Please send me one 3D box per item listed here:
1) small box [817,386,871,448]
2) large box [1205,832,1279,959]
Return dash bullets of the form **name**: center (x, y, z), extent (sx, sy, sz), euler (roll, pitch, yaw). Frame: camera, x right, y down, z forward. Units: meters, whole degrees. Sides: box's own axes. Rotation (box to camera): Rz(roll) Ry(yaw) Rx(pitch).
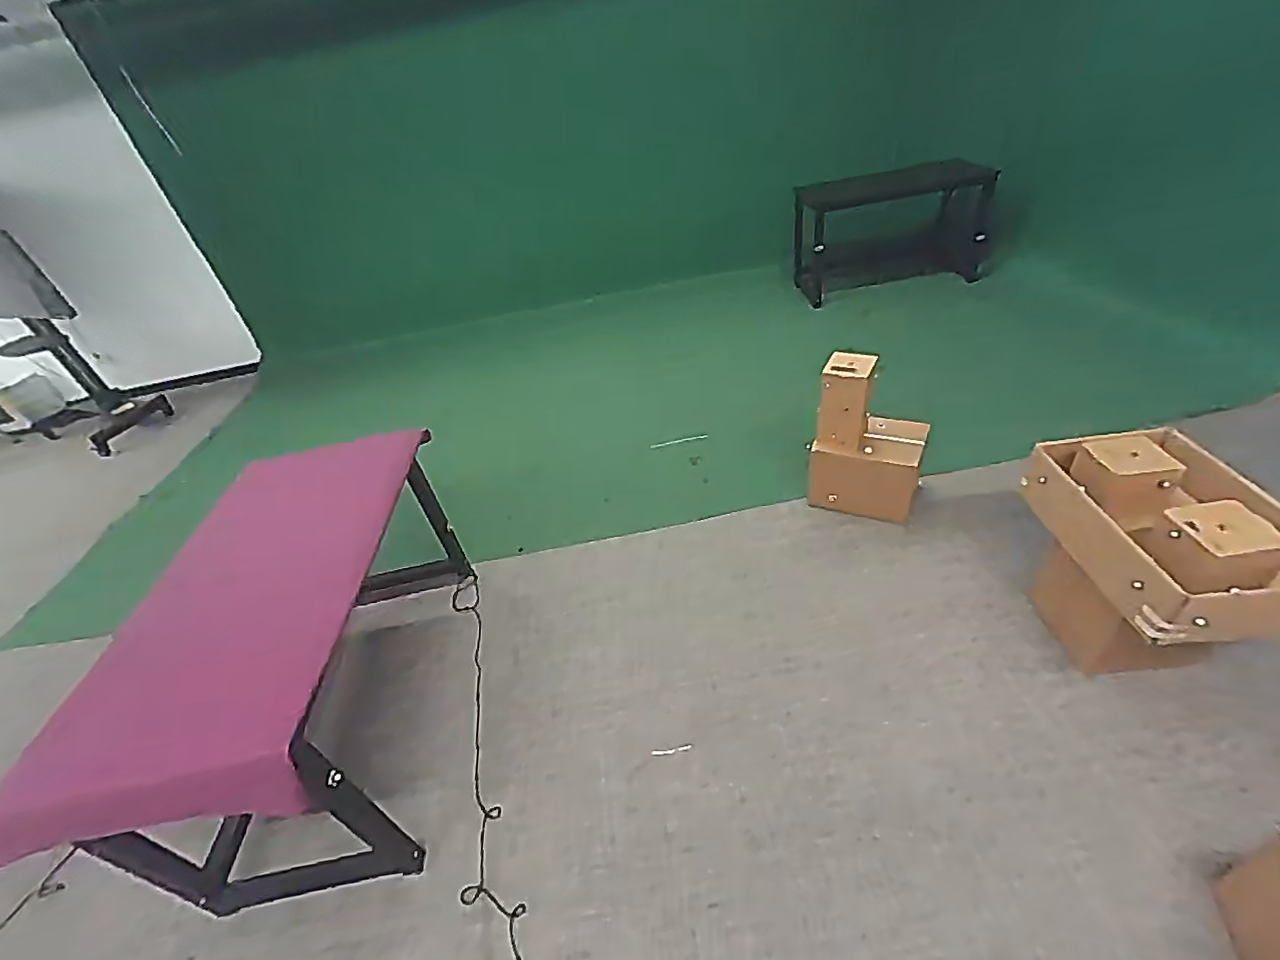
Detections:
- **small box**: center (0.829, -0.256, 2.207), extent (0.168, 0.176, 0.179), euler (15, 46, 28)
- **large box**: center (1.353, 0.939, 0.958), extent (0.320, 0.320, 0.408), euler (4, 39, 18)
